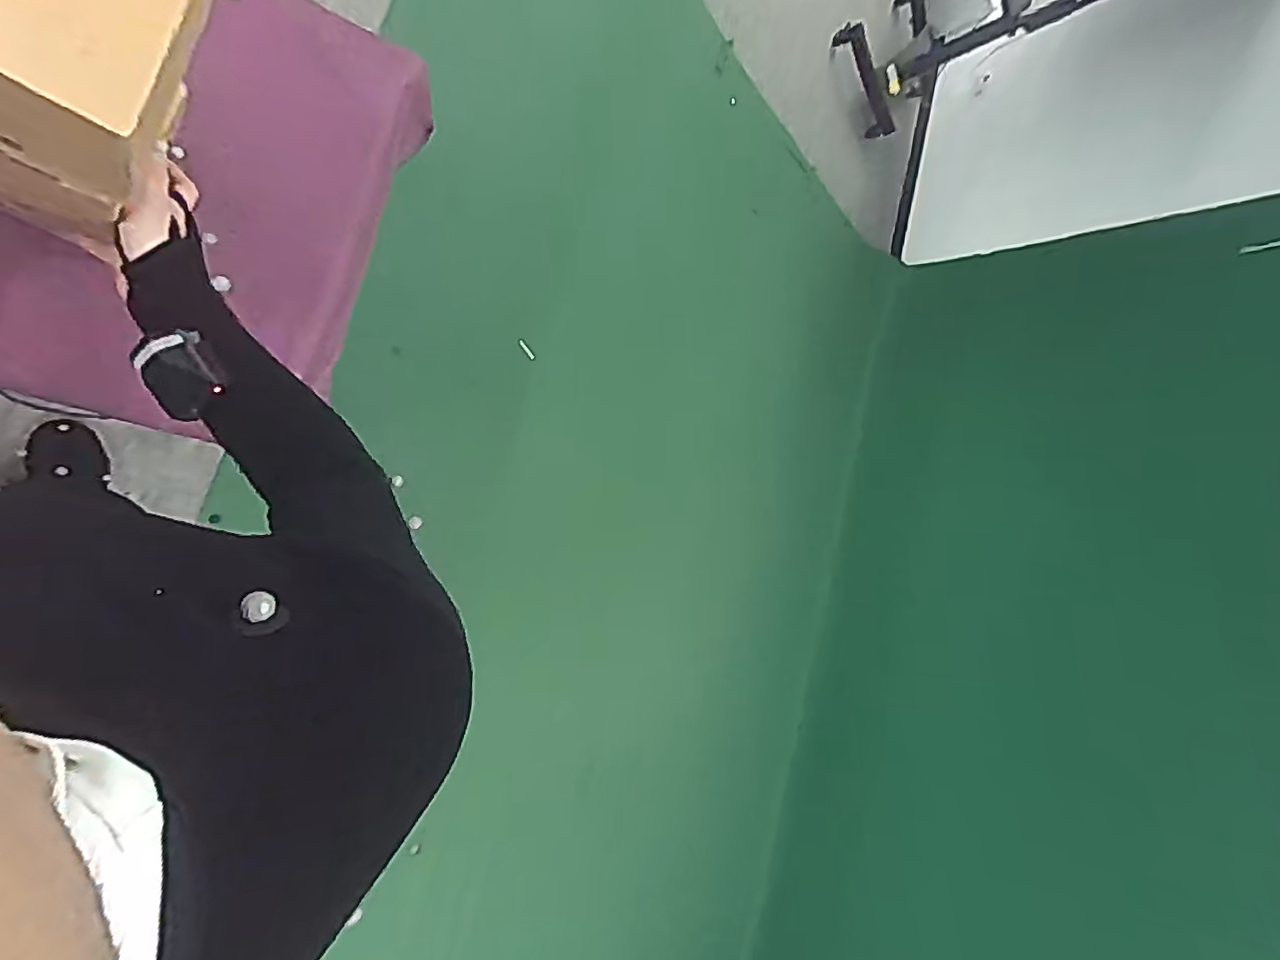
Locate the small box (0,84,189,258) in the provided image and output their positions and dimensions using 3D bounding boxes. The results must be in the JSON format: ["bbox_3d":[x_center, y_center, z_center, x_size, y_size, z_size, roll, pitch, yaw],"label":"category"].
[{"bbox_3d":[-0.600,-0.357,0.547,0.168,0.176,0.179,26,79,-43],"label":"small box"}]

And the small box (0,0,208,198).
[{"bbox_3d":[-0.375,-0.304,0.316,0.168,0.176,0.179,21,81,-44],"label":"small box"}]

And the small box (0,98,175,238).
[{"bbox_3d":[-0.492,-0.323,0.426,0.168,0.176,0.179,21,81,-44],"label":"small box"}]
